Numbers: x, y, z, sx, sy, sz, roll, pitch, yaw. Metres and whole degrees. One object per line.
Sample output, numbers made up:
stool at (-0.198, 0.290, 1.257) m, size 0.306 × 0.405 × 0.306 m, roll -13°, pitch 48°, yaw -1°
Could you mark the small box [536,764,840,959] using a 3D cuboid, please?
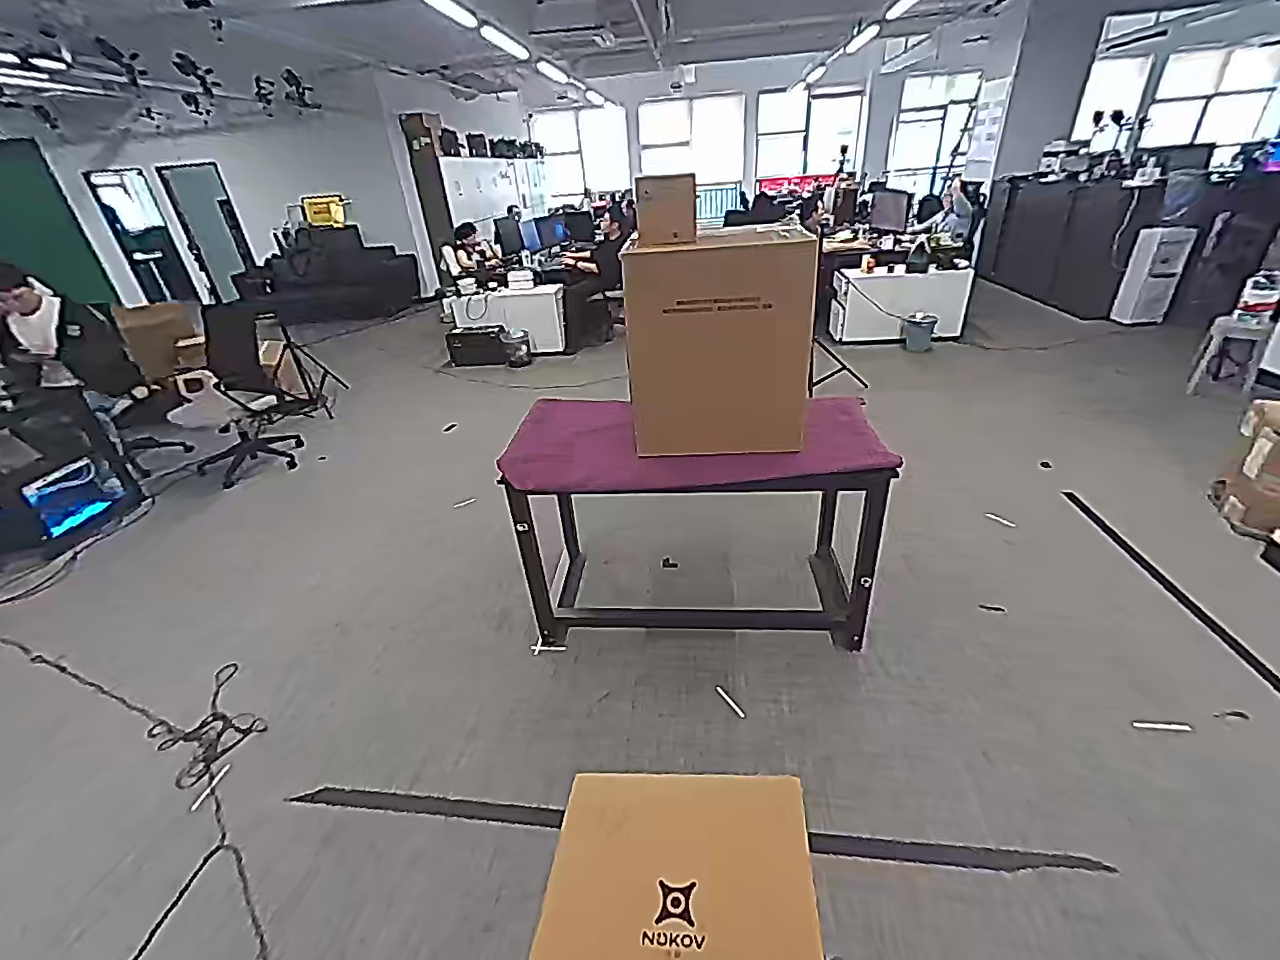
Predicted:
small box at (0.039, 0.317, 0.348) m, size 0.168 × 0.176 × 0.179 m, roll -5°, pitch 25°, yaw 11°
